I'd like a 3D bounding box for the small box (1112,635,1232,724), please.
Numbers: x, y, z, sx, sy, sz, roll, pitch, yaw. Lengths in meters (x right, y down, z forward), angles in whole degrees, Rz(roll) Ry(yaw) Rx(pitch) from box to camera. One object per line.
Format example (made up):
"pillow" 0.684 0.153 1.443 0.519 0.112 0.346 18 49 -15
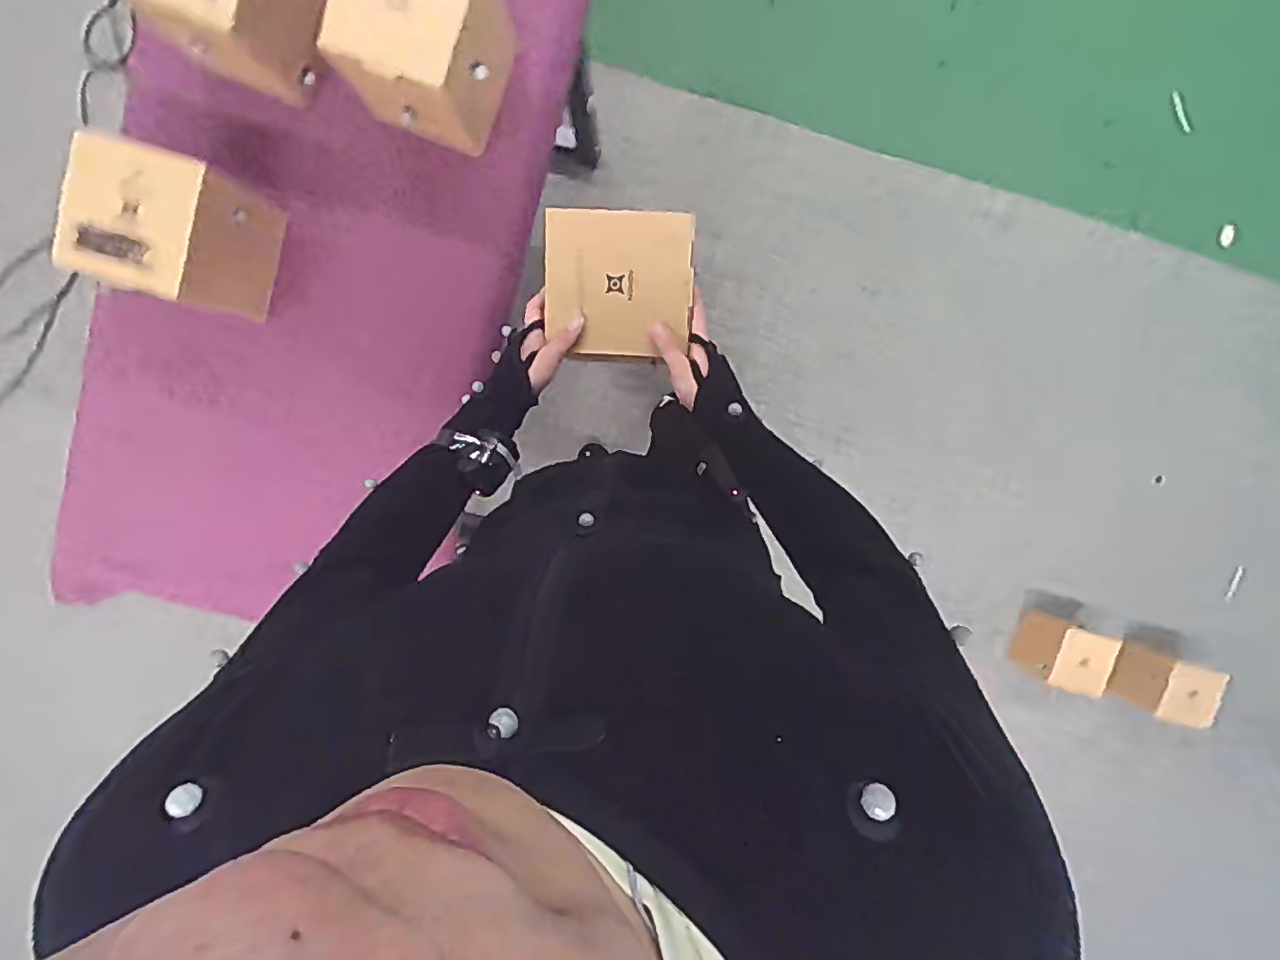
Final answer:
"small box" 1.563 0.583 1.601 0.168 0.176 0.179 15 96 -2

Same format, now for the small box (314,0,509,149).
"small box" -0.294 -0.594 0.733 0.168 0.176 0.179 20 96 -1

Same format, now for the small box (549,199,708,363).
"small box" -0.014 -0.245 0.706 0.179 0.176 0.168 4 98 1

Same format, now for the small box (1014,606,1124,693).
"small box" 1.252 0.490 1.591 0.168 0.176 0.179 14 96 -2

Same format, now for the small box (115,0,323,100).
"small box" -0.558 -0.658 0.725 0.179 0.176 0.168 21 95 -2
